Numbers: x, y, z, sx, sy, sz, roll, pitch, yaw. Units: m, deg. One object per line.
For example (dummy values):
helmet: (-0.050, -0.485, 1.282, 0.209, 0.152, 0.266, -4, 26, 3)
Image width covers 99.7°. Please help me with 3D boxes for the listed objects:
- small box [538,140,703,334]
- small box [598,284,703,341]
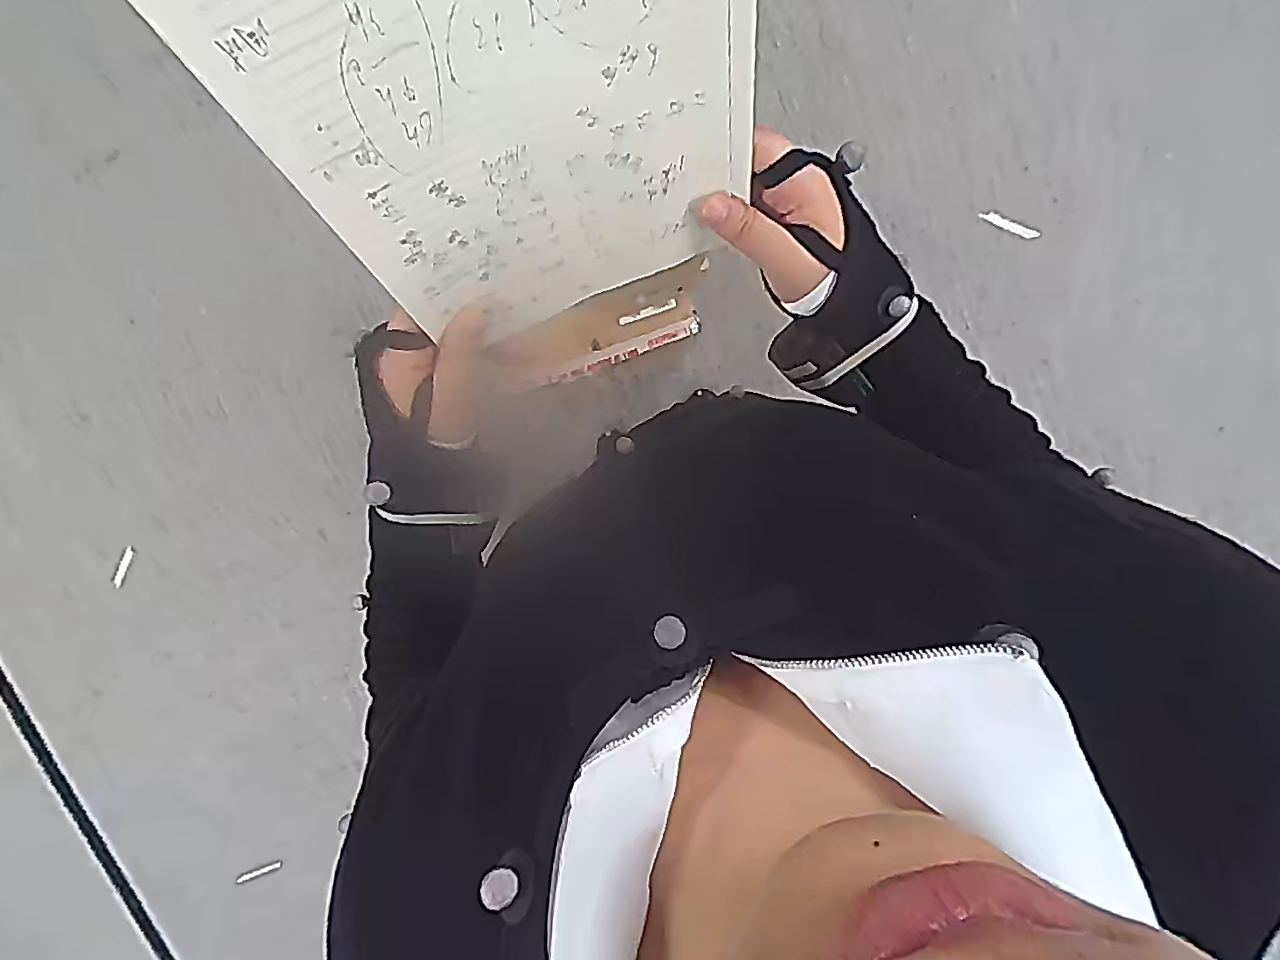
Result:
small box: (-0.027, -0.312, 0.732, 0.168, 0.176, 0.179, -17, 99, 0)
small box: (-0.013, -0.343, 0.895, 0.179, 0.176, 0.168, -20, 98, 2)
